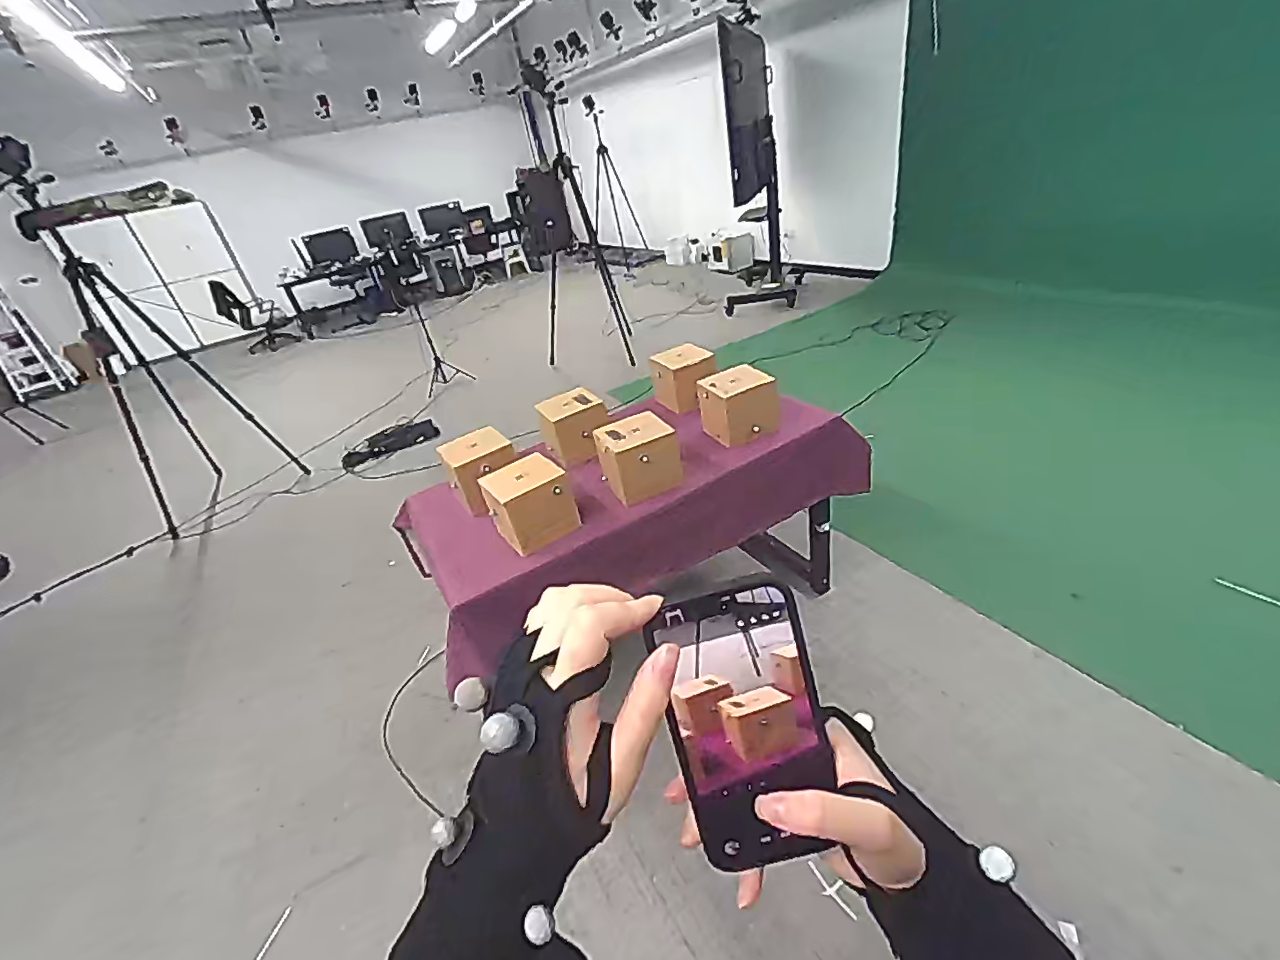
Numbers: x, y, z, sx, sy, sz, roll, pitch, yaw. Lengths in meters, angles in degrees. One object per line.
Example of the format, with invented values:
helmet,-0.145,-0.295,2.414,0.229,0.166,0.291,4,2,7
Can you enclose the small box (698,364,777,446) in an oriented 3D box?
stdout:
small box,0.293,-0.226,1.625,0.179,0.176,0.168,-21,33,-15

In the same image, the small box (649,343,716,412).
small box,0.150,-0.356,1.873,0.168,0.176,0.179,-24,35,-17

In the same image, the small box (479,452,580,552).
small box,-0.276,0.056,1.375,0.179,0.176,0.168,-28,35,-26

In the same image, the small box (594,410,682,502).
small box,-0.004,-0.065,1.471,0.179,0.176,0.168,-21,33,-16
